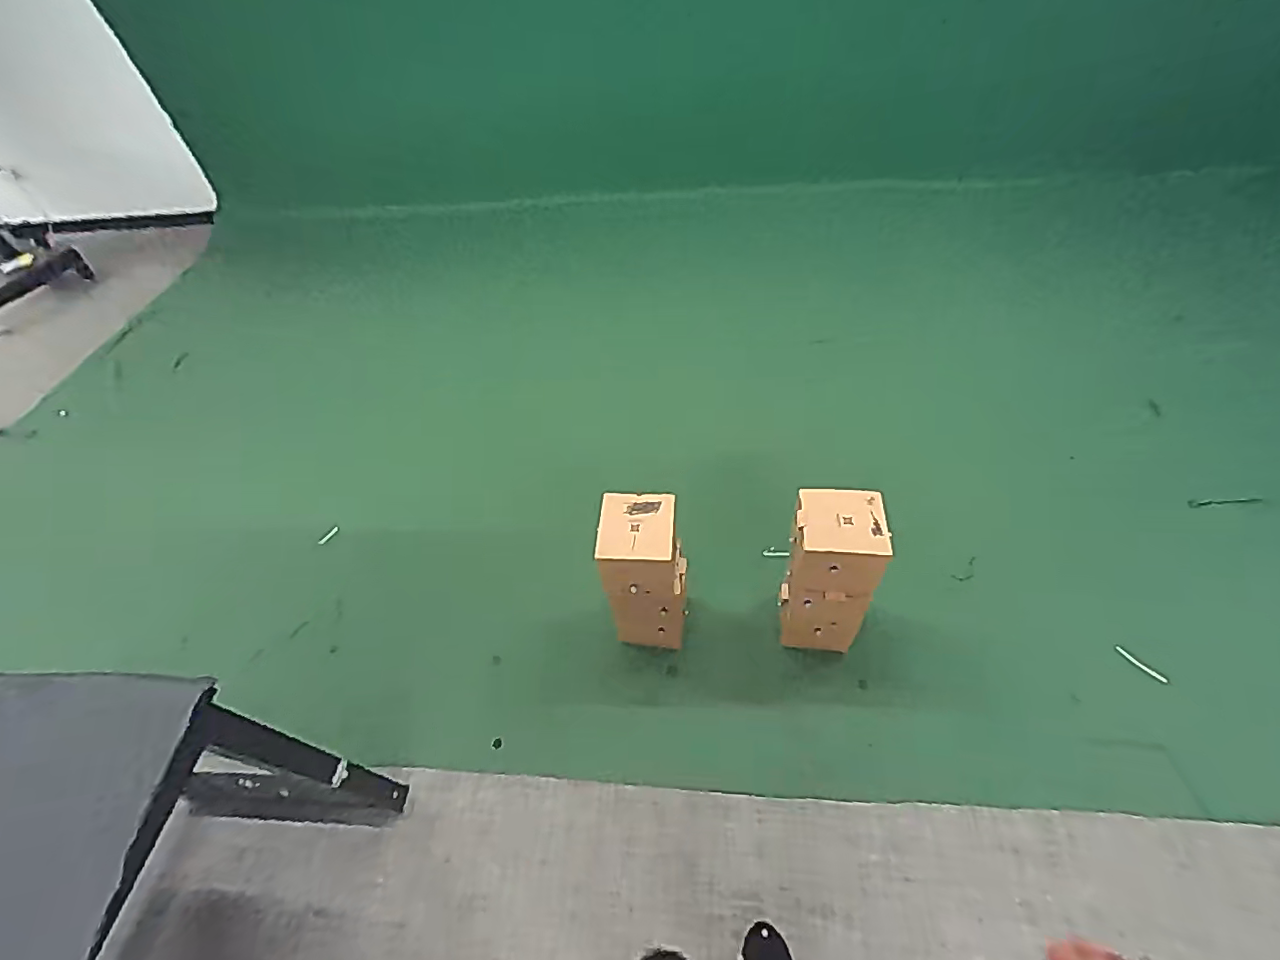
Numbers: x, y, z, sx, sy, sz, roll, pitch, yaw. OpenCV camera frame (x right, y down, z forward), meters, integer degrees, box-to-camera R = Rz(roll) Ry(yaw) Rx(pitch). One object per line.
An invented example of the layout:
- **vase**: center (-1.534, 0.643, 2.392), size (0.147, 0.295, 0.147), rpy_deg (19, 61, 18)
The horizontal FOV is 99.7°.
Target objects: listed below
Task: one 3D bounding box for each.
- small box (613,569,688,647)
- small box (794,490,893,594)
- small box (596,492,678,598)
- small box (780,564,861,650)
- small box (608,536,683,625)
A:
- **small box**: center (0.036, 0.347, 1.493), size (0.179, 0.176, 0.168), rpy_deg (5, 52, 10)
- **small box**: center (0.439, 0.139, 1.198), size (0.179, 0.176, 0.168), rpy_deg (2, 51, 9)
- **small box**: center (0.000, 0.148, 1.235), size (0.168, 0.176, 0.179), rpy_deg (1, 52, 7)
- **small box**: center (0.476, 0.345, 1.451), size (0.179, 0.176, 0.168), rpy_deg (4, 52, 9)
- **small box**: center (0.021, 0.255, 1.360), size (0.179, 0.176, 0.168), rpy_deg (-2, 51, 6)
